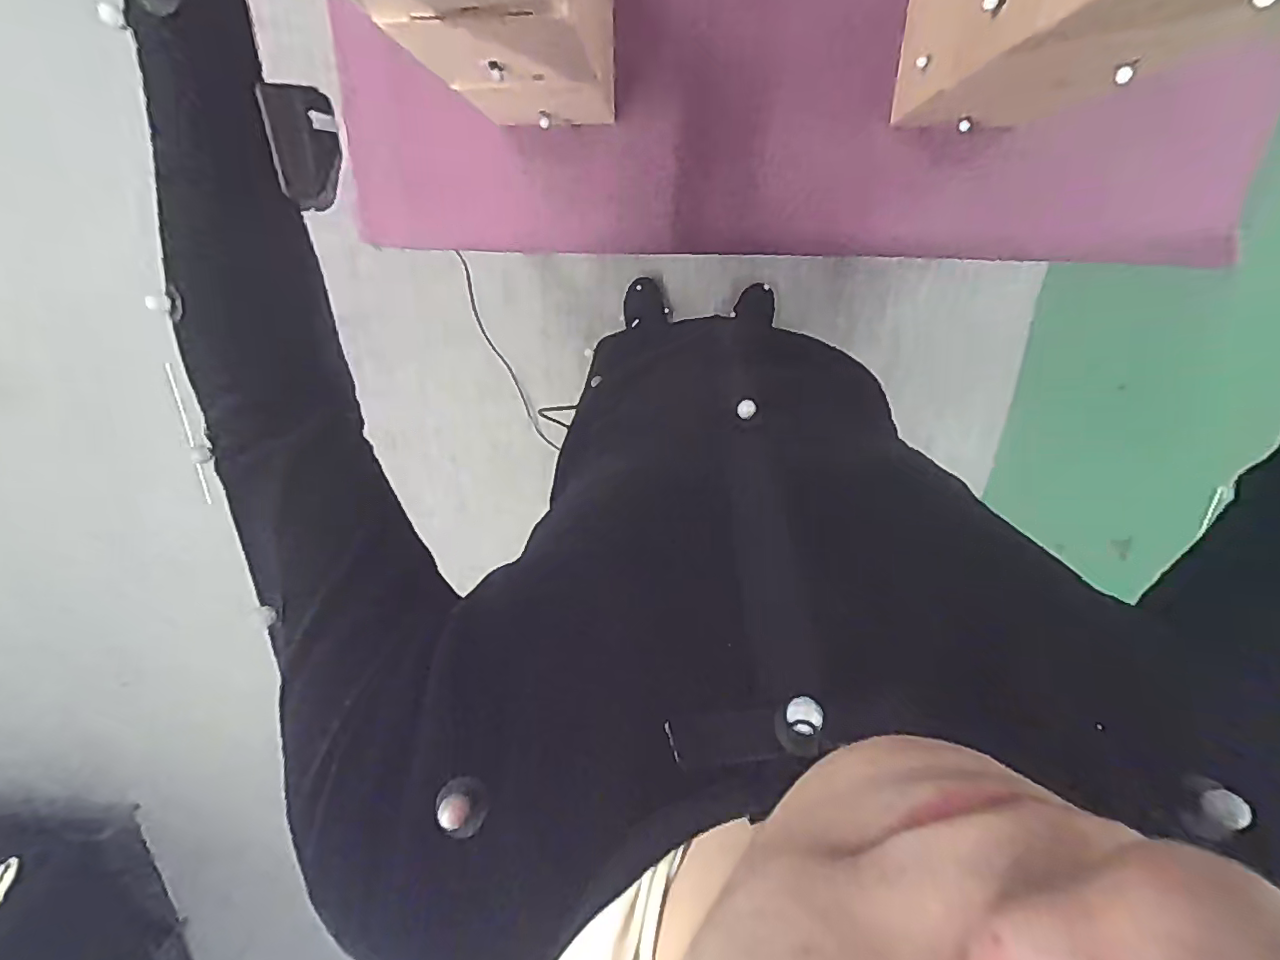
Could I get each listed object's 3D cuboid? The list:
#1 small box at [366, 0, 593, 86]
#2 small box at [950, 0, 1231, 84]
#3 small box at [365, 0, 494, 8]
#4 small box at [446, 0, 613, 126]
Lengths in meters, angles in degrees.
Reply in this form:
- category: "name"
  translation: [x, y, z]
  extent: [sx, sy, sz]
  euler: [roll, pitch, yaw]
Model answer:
- category: "small box"
  translation: [-0.136, -0.484, 0.483]
  extent: [0.168, 0.176, 0.179]
  euler: [1, 112, 4]
- category: "small box"
  translation: [0.386, -0.452, 0.447]
  extent: [0.168, 0.176, 0.179]
  euler: [2, 111, 4]
- category: "small box"
  translation: [-0.148, -0.427, 0.330]
  extent: [0.179, 0.176, 0.168]
  euler: [0, 112, 6]
- category: "small box"
  translation: [-0.124, -0.540, 0.635]
  extent: [0.168, 0.176, 0.179]
  euler: [2, 111, 5]
